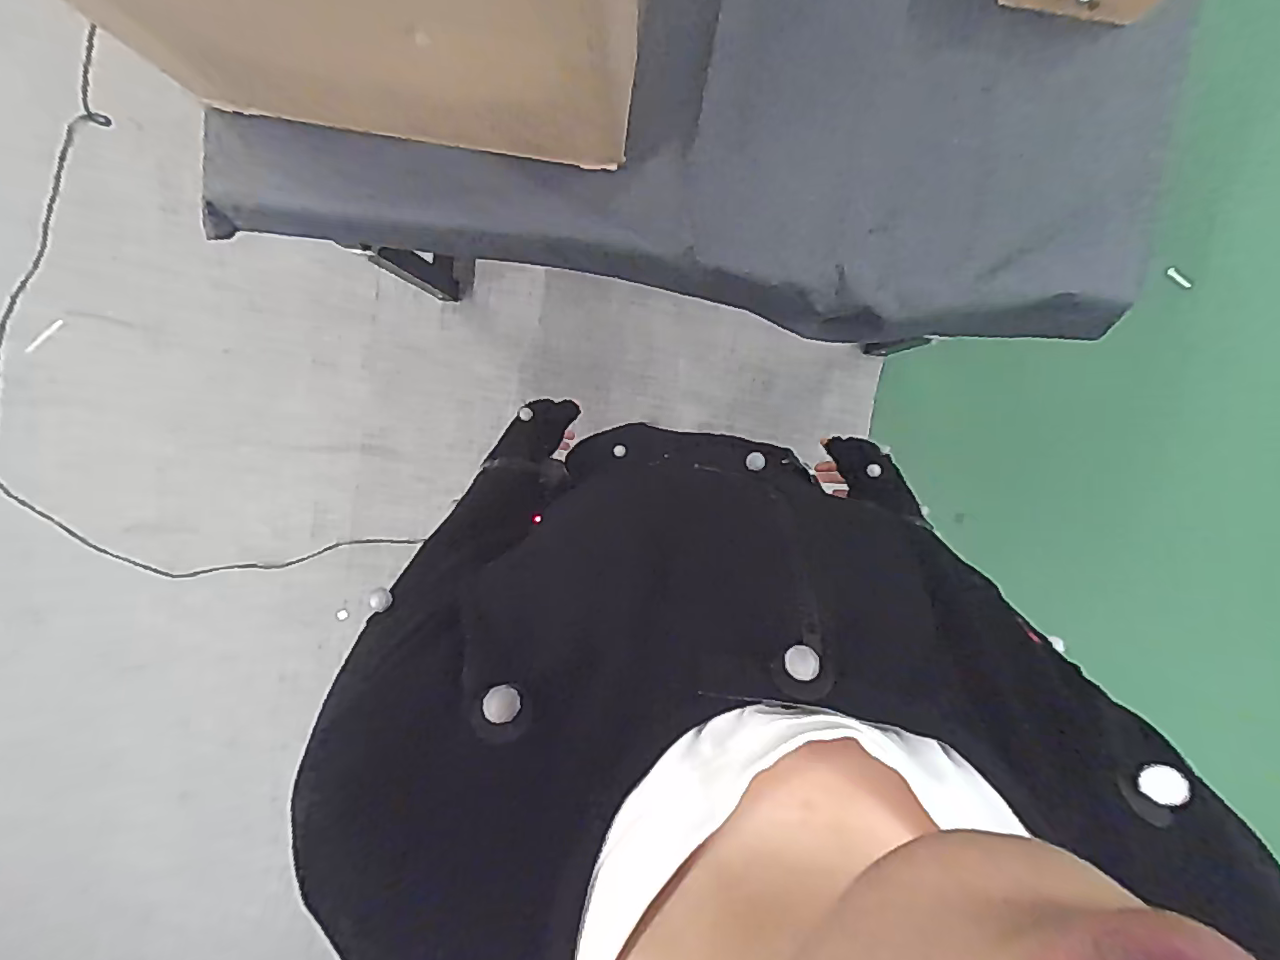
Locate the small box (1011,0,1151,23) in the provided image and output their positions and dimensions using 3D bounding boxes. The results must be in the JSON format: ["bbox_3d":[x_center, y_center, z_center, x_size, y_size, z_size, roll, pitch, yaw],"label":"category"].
[{"bbox_3d":[0.530,-0.646,0.570,0.168,0.176,0.179,10,98,1],"label":"small box"}]
